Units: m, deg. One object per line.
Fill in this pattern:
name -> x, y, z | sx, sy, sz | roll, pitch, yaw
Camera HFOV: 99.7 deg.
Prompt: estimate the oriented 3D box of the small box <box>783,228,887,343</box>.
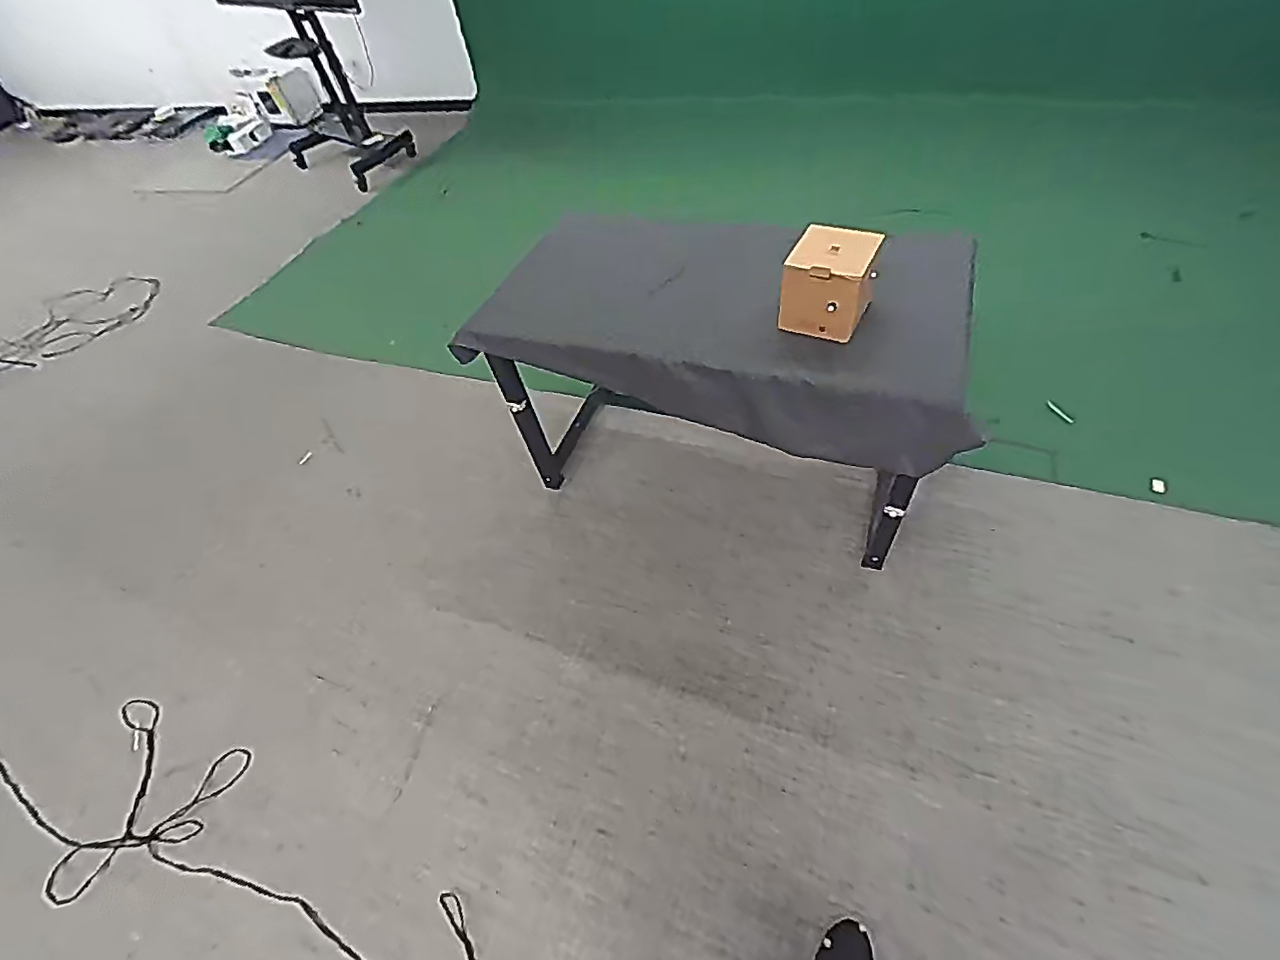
small box -> 0.435, -0.439, 1.227 | 0.168, 0.176, 0.179 | 22, 57, 23
